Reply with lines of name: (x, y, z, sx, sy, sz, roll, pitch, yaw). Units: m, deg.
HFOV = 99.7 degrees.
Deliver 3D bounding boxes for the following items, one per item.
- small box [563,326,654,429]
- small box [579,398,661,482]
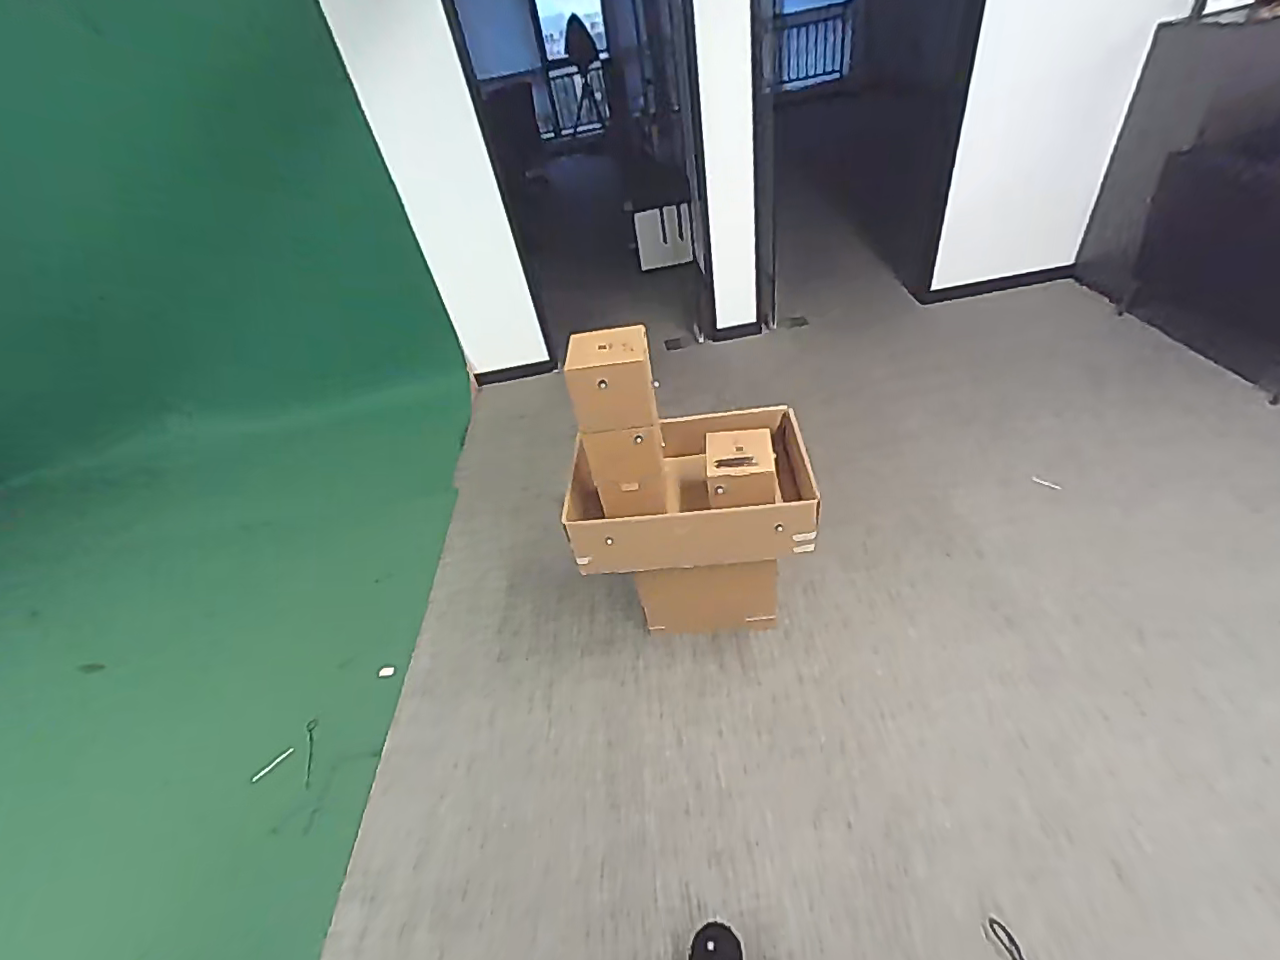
small box: (-0.065, -0.230, 1.233, 0.179, 0.176, 0.168, -6, 42, 5)
small box: (-0.044, -0.109, 1.343, 0.179, 0.176, 0.168, -5, 42, 5)
